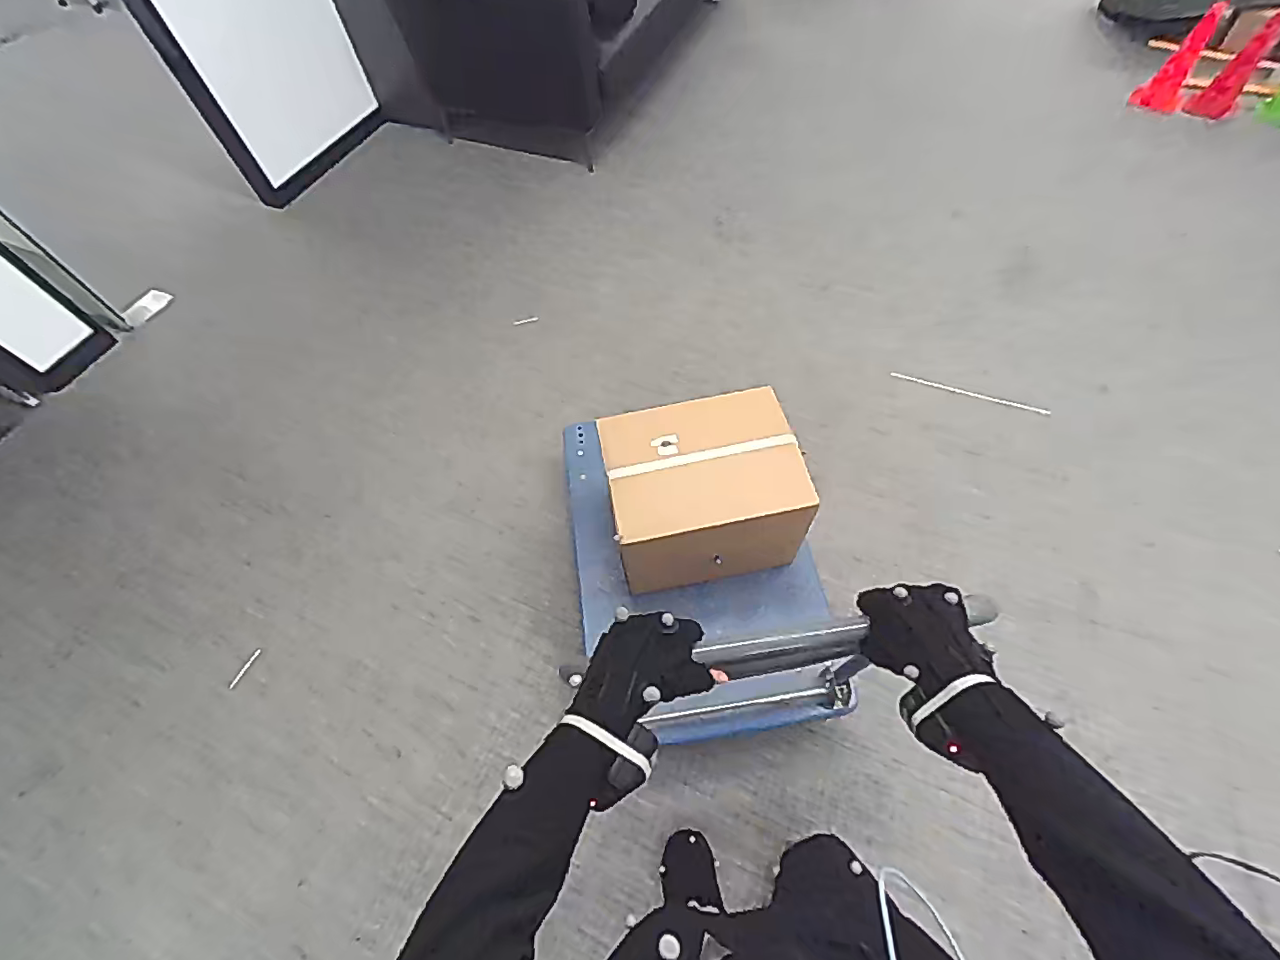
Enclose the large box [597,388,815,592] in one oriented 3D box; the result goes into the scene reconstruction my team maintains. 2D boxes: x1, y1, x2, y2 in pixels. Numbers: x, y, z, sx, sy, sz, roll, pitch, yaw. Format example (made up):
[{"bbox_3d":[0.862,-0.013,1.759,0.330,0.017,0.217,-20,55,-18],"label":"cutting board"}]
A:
[{"bbox_3d":[0.138,0.034,1.272,0.408,0.320,0.320,-13,59,-3],"label":"large box"}]
